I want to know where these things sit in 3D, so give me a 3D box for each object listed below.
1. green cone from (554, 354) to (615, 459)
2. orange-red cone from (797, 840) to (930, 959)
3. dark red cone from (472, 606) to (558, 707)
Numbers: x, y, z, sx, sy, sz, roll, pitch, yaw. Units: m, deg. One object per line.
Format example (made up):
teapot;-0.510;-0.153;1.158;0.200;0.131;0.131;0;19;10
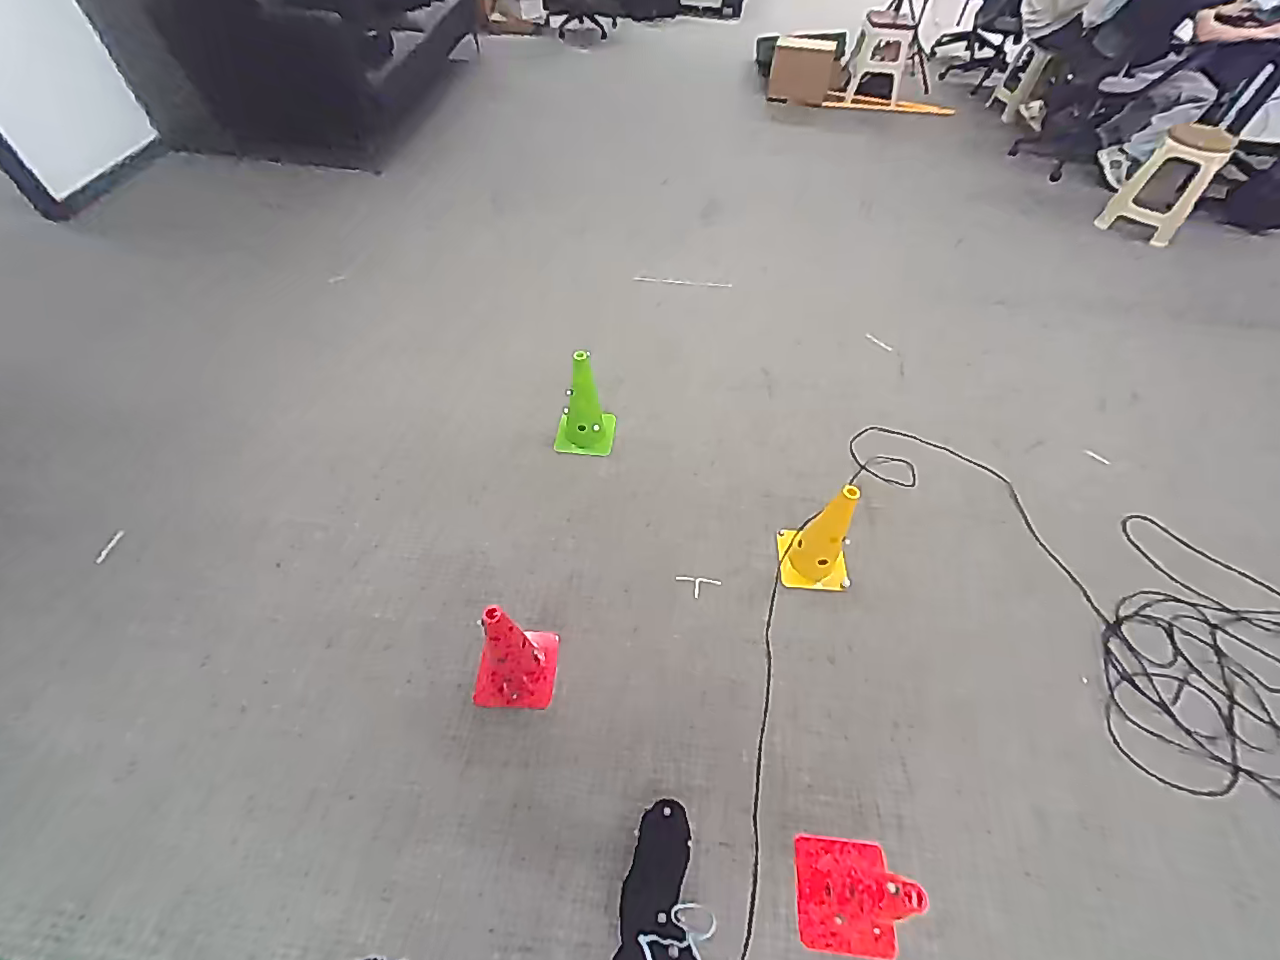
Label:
green cone;-0.187;-0.262;1.796;0.202;0.368;0.200;6;53;1
orange-red cone;0.444;0.791;1.017;0.198;0.360;0.199;7;52;2
dark red cone;-0.312;0.387;1.267;0.202;0.394;0.201;2;54;-1
